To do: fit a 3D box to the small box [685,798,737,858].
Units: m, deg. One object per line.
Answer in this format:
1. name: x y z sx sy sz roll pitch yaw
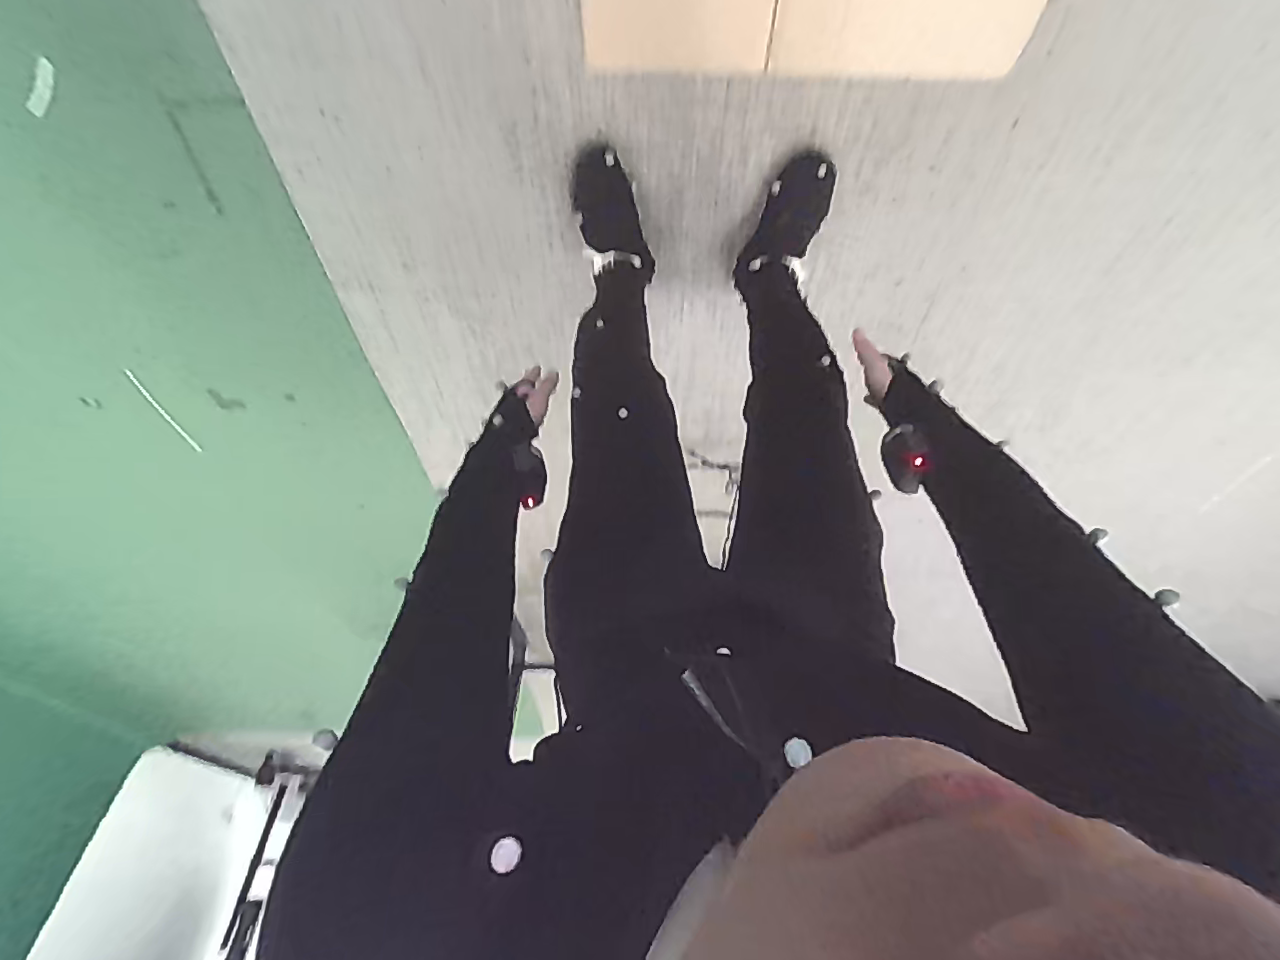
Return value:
1. small box: 0.244 1.225 1.895 0.168 0.176 0.179 -2 141 4
